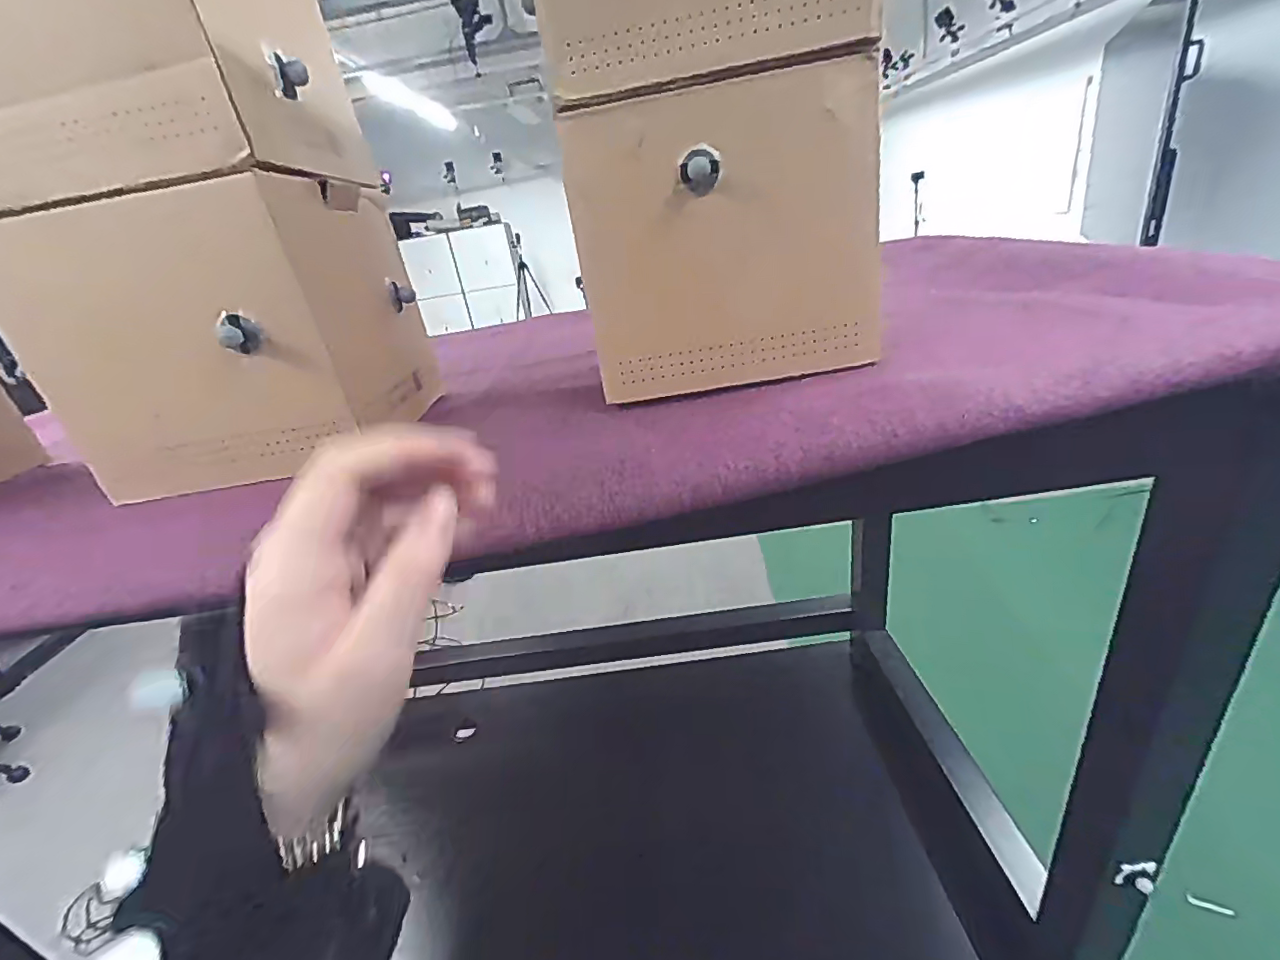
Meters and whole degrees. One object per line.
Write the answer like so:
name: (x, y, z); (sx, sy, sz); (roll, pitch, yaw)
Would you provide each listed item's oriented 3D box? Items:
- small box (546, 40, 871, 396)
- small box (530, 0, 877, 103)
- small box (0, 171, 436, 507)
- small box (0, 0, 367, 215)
small box: (0.049, -0.165, 0.383); (0.179, 0.176, 0.168); (-8, 23, 4)
small box: (0.025, -0.314, 0.319); (0.179, 0.176, 0.168); (-9, 24, 6)
small box: (-0.268, -0.100, 0.377); (0.179, 0.176, 0.168); (-10, 25, 2)
small box: (-0.297, -0.246, 0.310); (0.179, 0.176, 0.168); (-10, 25, 0)
